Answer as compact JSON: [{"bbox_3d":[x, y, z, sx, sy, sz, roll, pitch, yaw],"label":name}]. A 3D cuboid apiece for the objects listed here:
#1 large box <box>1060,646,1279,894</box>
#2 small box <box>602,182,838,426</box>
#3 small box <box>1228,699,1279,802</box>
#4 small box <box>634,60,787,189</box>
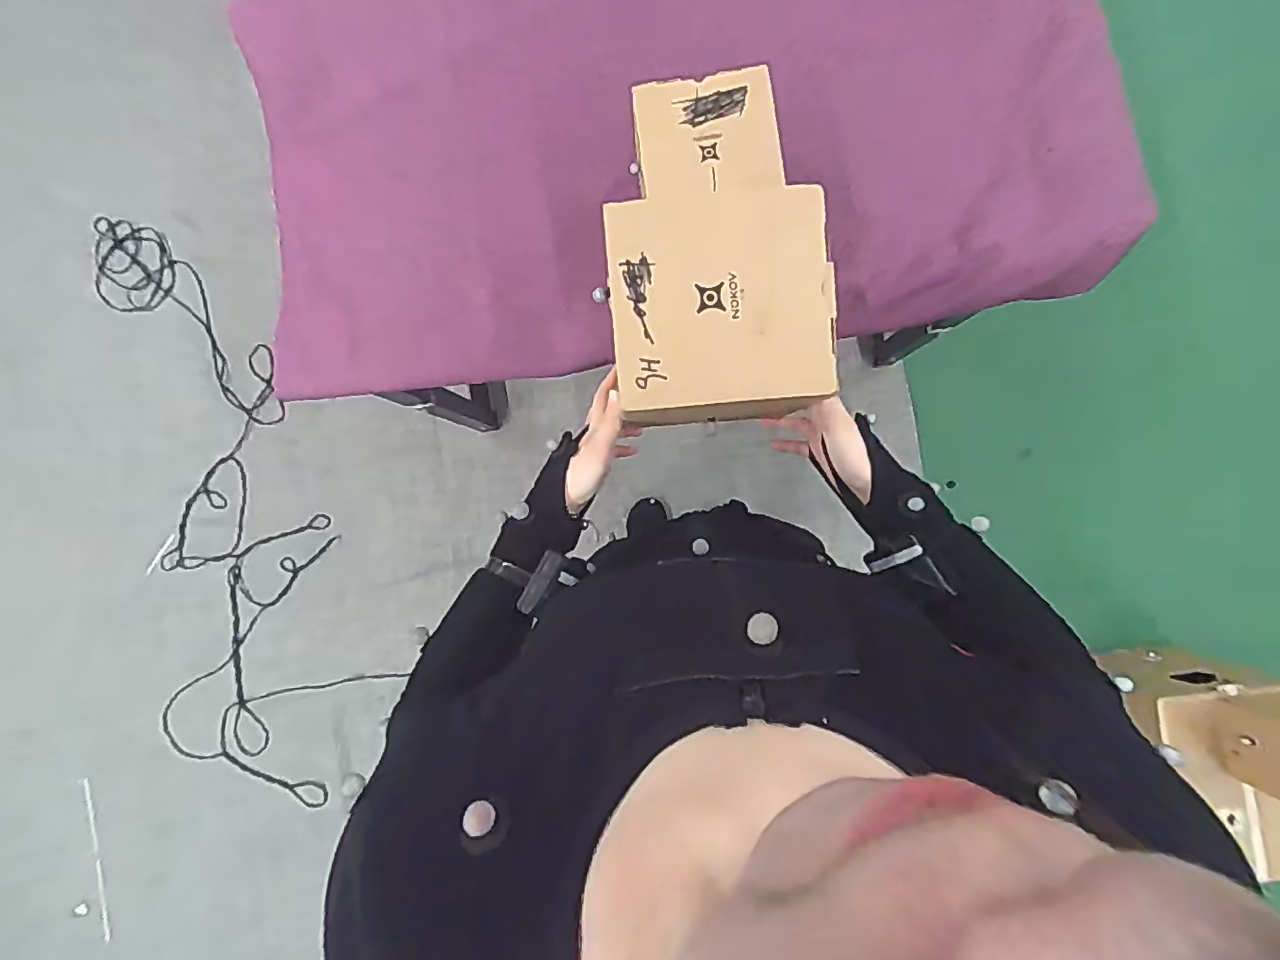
[{"bbox_3d":[1.274,0.646,1.267,0.320,0.320,0.408,-7,89,4],"label":"large box"},{"bbox_3d":[0.059,-0.142,0.491,0.179,0.176,0.168,-4,89,0],"label":"small box"},{"bbox_3d":[1.298,0.526,1.027,0.179,0.176,0.168,-7,88,3],"label":"small box"},{"bbox_3d":[0.085,-0.391,0.707,0.168,0.176,0.179,-7,88,3],"label":"small box"}]
